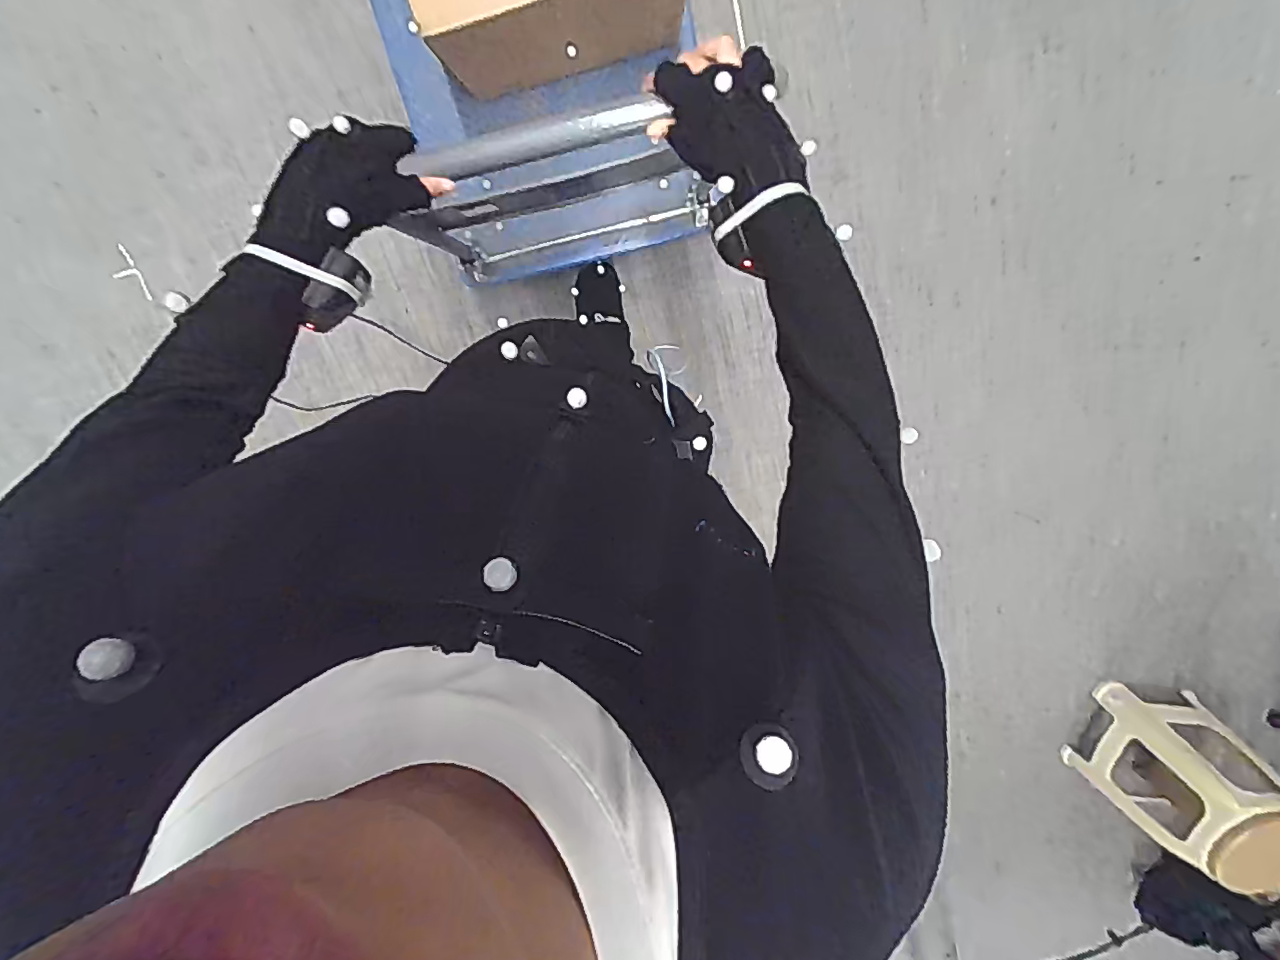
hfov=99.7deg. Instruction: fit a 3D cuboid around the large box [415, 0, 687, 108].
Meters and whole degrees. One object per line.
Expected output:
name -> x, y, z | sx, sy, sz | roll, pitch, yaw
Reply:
large box -> -0.152, -0.869, 0.869 | 0.408, 0.320, 0.320 | -14, 109, 5
